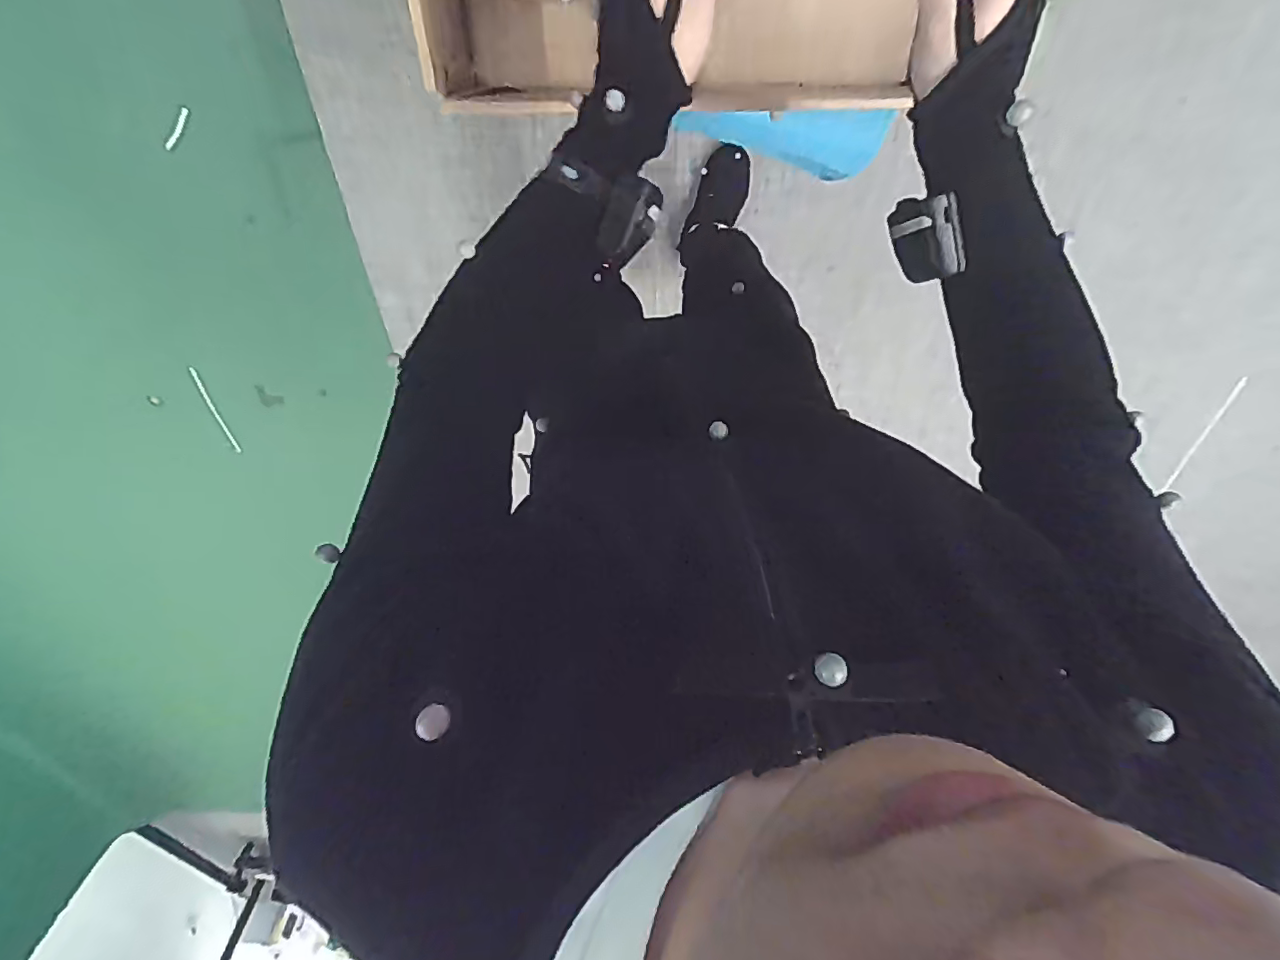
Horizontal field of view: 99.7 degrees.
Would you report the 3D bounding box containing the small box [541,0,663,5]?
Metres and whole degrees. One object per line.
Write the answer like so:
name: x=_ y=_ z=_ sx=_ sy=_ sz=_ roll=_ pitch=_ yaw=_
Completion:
small box: x=-0.047 y=-0.570 z=0.503 sx=0.168 sy=0.176 sz=0.179 roll=0 pitch=126 yaw=2
